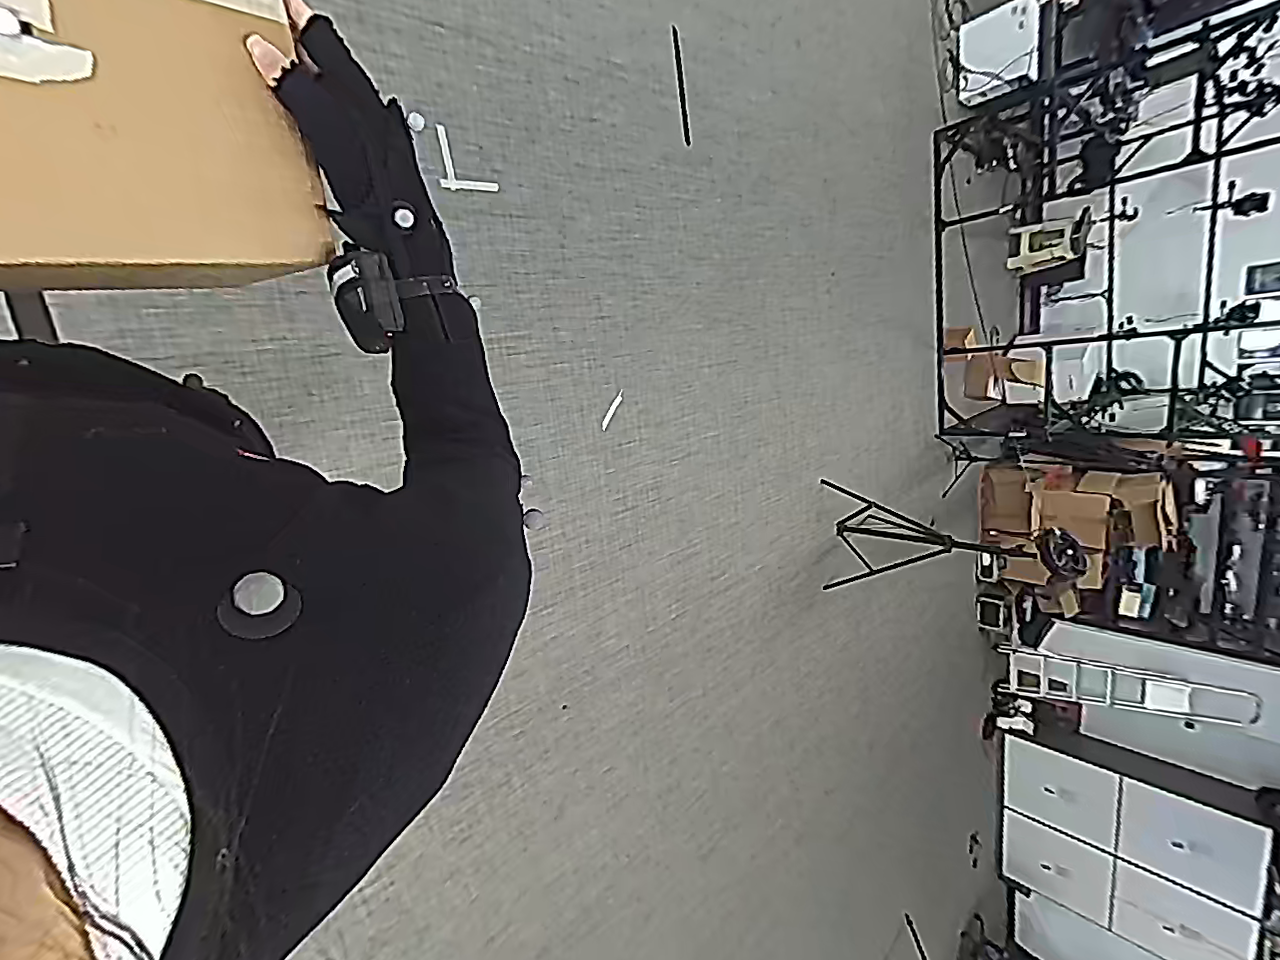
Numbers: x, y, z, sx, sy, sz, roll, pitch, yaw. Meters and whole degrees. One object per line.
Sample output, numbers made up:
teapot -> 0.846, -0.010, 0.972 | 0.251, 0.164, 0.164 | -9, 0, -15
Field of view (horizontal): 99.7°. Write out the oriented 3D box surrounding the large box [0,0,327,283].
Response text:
large box -> -0.491, -0.291, 0.330 | 0.408, 0.320, 0.320 | -22, 117, -43
